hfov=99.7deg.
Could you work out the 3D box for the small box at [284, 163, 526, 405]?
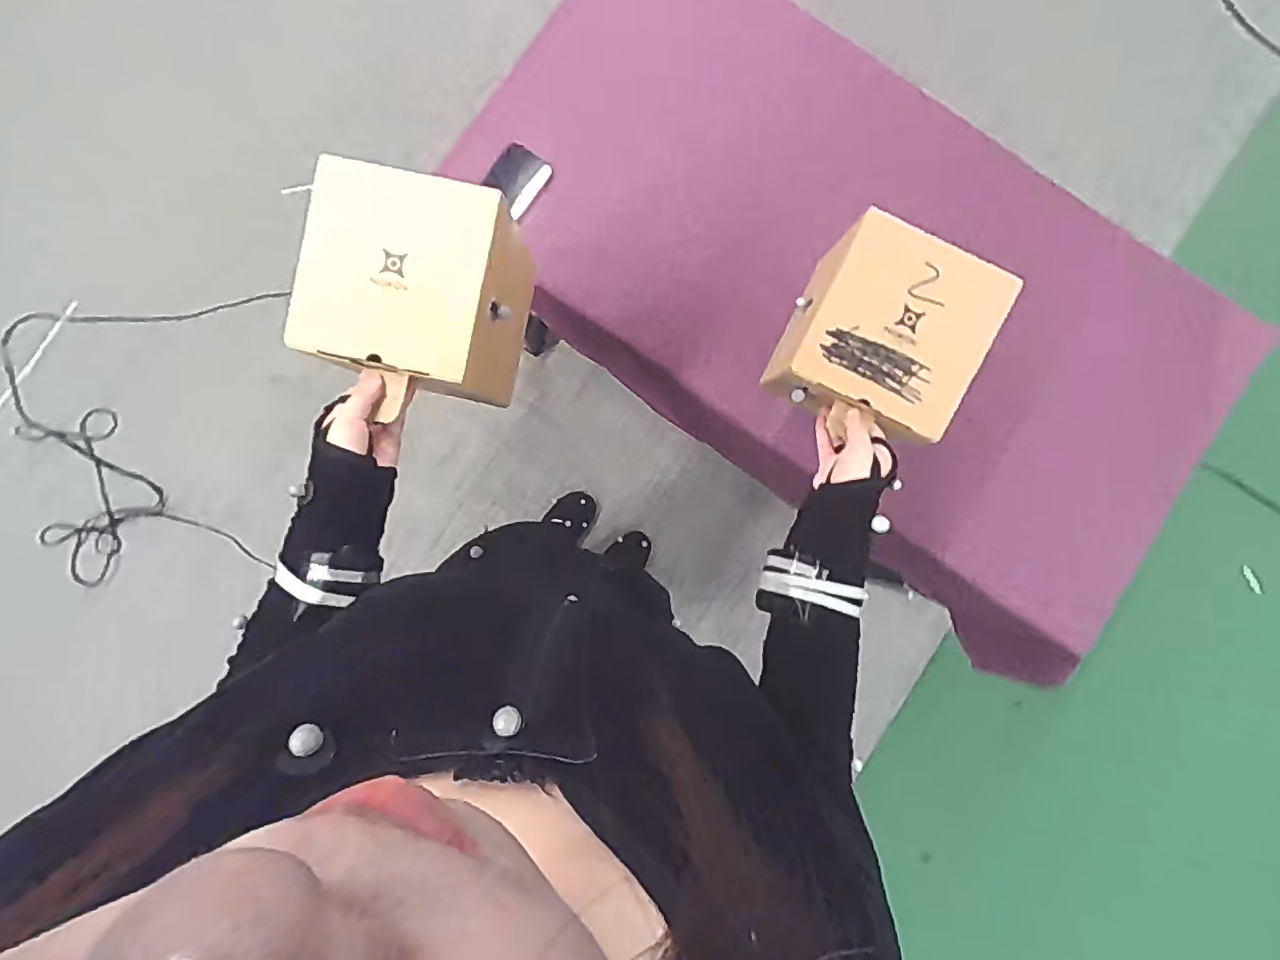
[{"bbox_3d":[-0.225,-0.186,0.565,0.168,0.176,0.179,11,92,0],"label":"small box"}]
